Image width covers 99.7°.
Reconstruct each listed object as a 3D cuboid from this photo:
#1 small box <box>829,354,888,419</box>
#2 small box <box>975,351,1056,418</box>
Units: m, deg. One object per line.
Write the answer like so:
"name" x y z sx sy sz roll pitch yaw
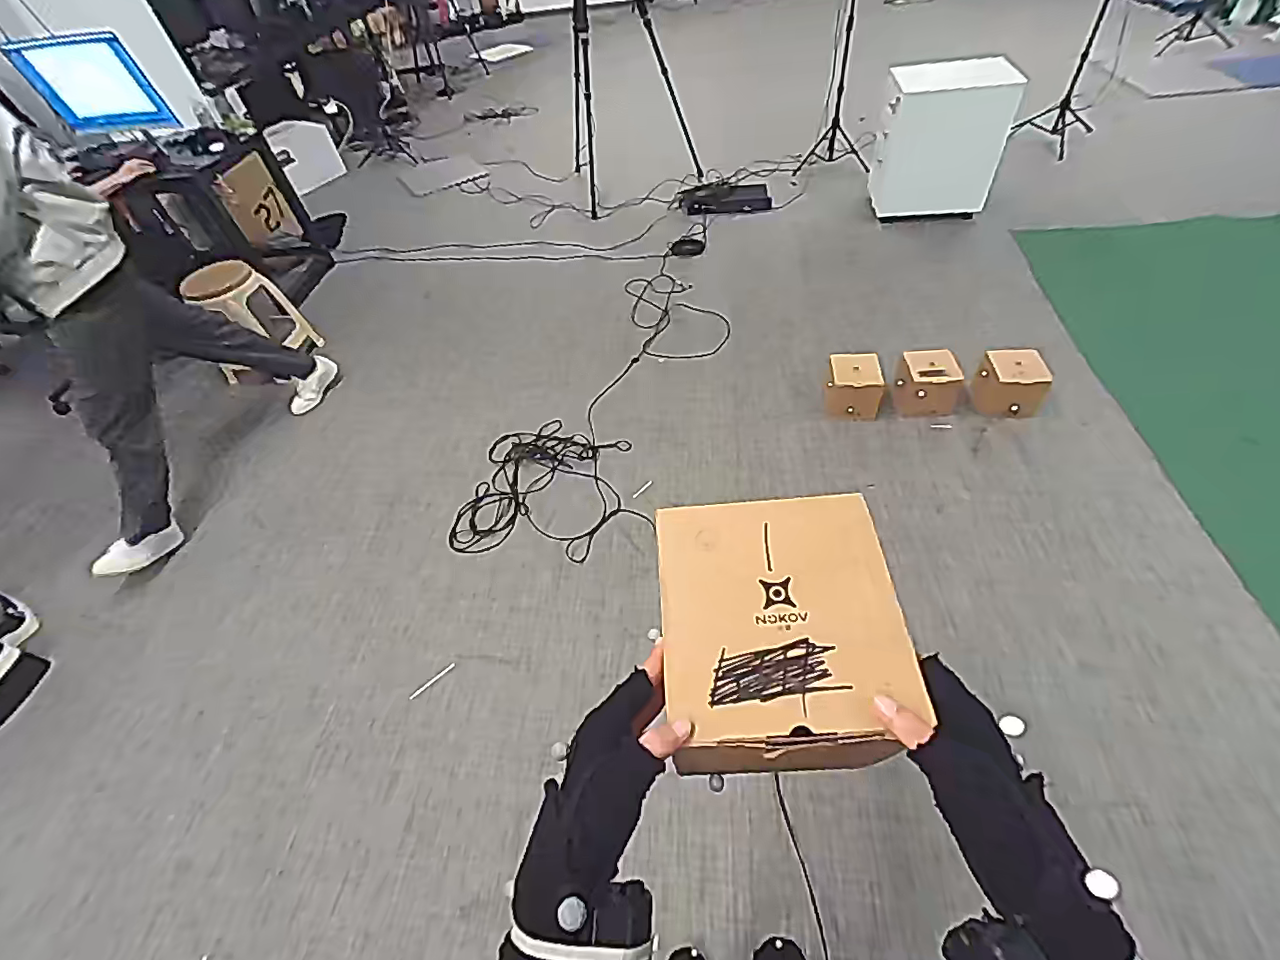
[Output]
"small box" 0.803 -0.347 2.006 0.168 0.176 0.179 1 51 10
"small box" 1.326 -0.340 1.924 0.168 0.176 0.179 1 51 10
